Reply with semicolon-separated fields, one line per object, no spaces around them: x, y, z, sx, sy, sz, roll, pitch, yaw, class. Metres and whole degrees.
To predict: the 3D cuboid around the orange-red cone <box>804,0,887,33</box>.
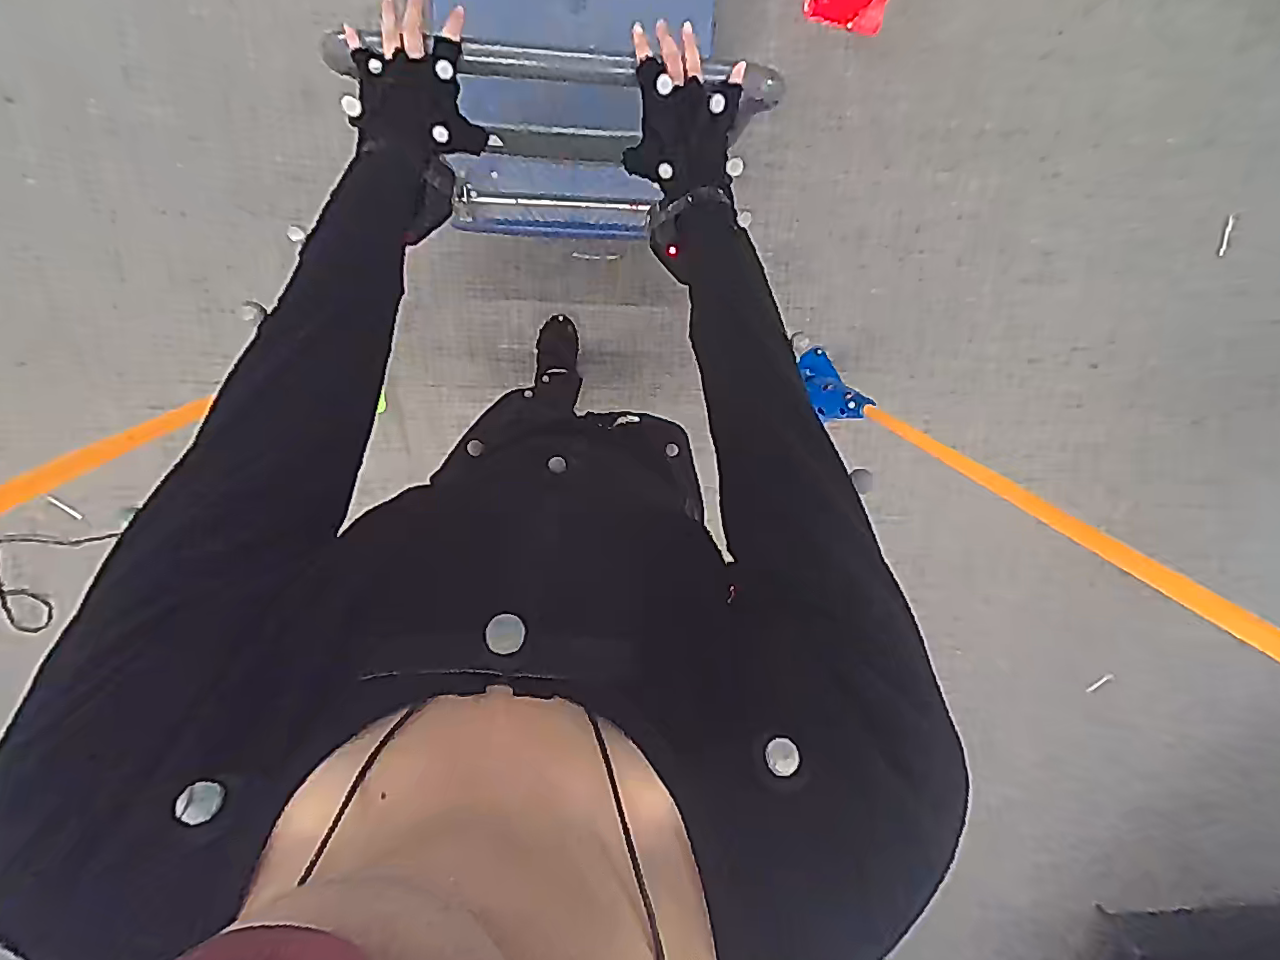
0.515;-1.152;1.118;0.198;0.360;0.199;11;103;-7;orange-red cone
